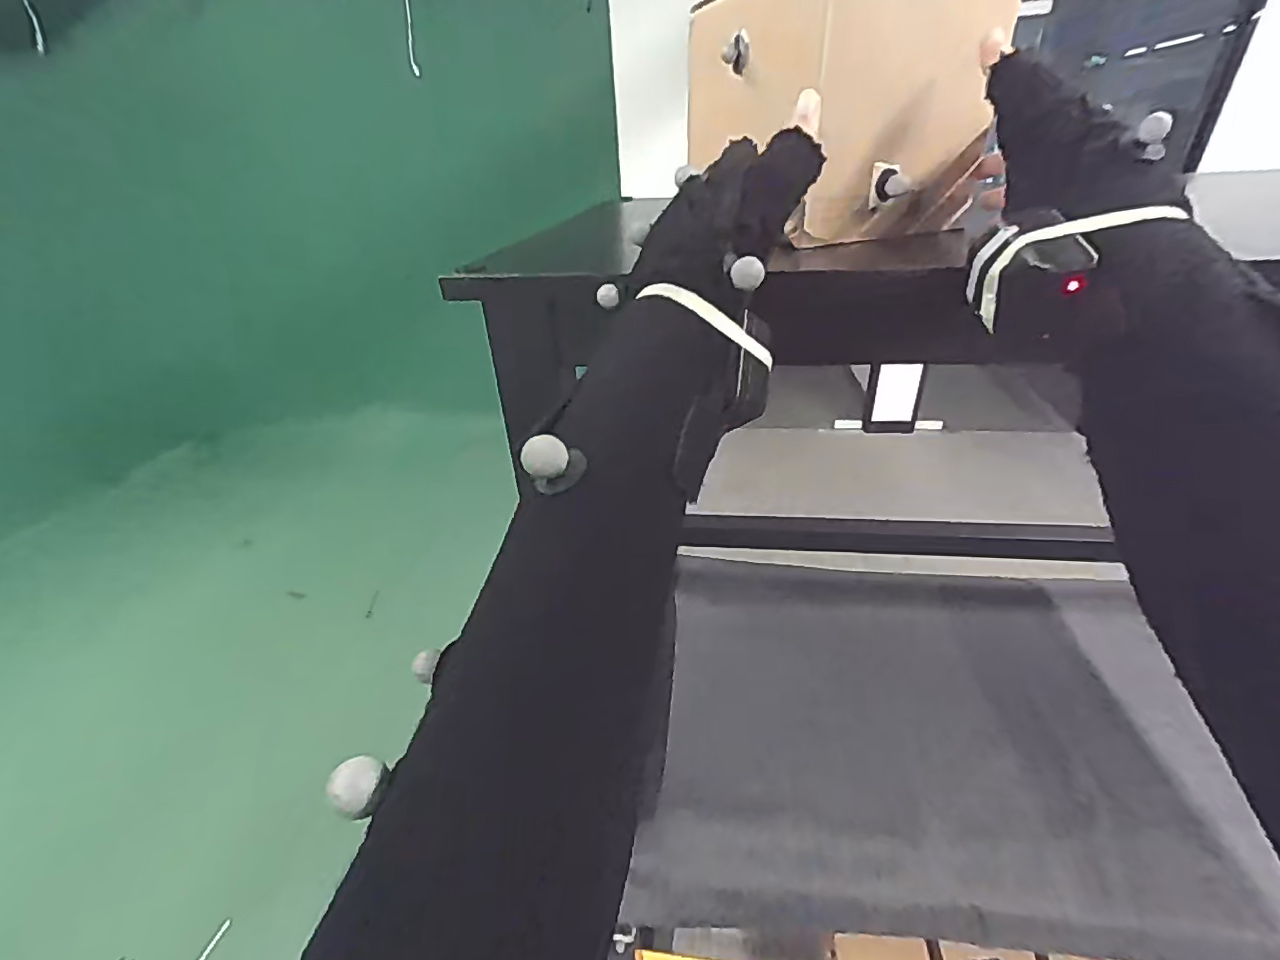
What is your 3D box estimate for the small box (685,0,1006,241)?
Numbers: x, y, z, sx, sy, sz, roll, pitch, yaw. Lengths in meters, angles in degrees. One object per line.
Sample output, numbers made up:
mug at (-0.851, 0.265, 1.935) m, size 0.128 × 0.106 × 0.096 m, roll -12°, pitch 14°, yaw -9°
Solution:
small box at (0.145, -0.298, 0.440) m, size 0.168 × 0.176 × 0.179 m, roll -15°, pitch 34°, yaw -18°
